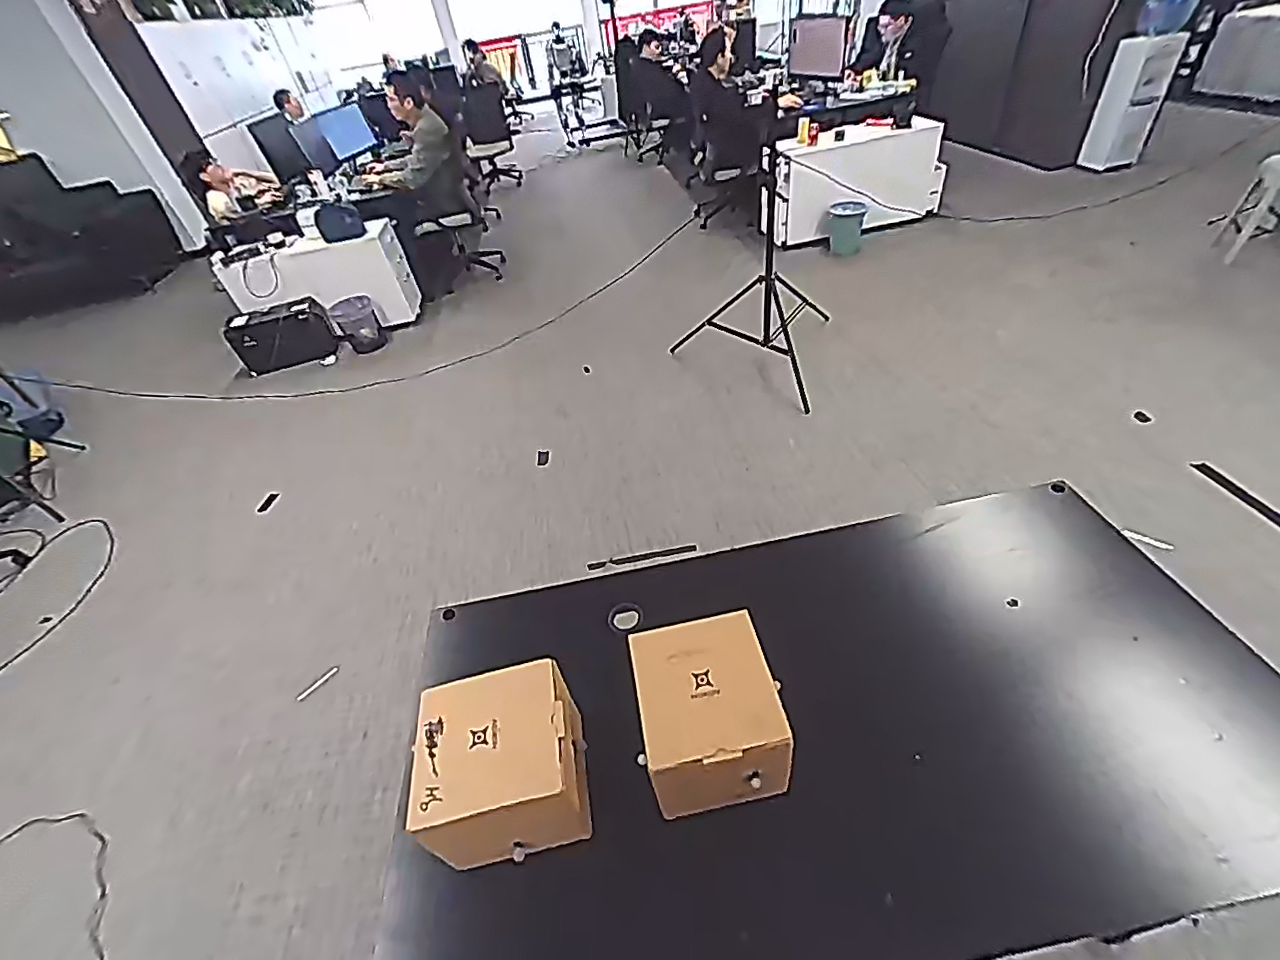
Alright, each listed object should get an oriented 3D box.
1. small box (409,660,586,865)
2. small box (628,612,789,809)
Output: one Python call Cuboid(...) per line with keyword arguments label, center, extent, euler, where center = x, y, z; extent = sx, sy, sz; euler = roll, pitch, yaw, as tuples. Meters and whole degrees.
Cuboid(label="small box", center=(-0.170, 0.364, 0.697), extent=(0.179, 0.176, 0.168), euler=(-12, 42, -4))
Cuboid(label="small box", center=(0.086, 0.308, 0.712), extent=(0.168, 0.176, 0.179), euler=(-11, 41, -3))
